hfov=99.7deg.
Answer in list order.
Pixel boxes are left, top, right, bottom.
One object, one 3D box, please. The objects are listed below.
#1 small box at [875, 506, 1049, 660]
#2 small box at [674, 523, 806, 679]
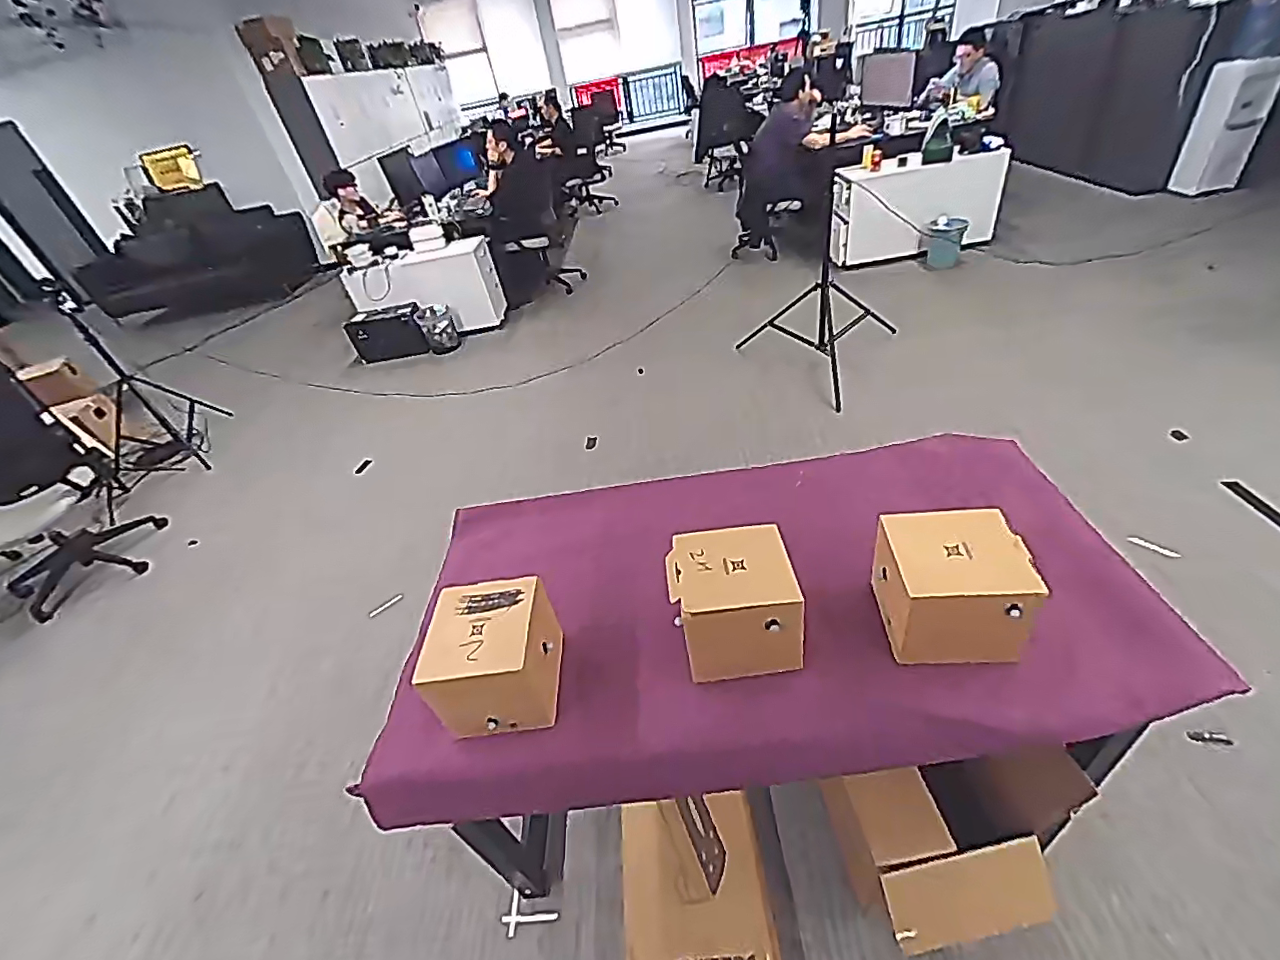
[{"bbox_3d":[0.470,0.160,0.827,0.179,0.176,0.168,-4,39,9],"label":"small box"},{"bbox_3d":[0.156,0.194,0.867,0.179,0.176,0.168,-9,36,4],"label":"small box"}]
